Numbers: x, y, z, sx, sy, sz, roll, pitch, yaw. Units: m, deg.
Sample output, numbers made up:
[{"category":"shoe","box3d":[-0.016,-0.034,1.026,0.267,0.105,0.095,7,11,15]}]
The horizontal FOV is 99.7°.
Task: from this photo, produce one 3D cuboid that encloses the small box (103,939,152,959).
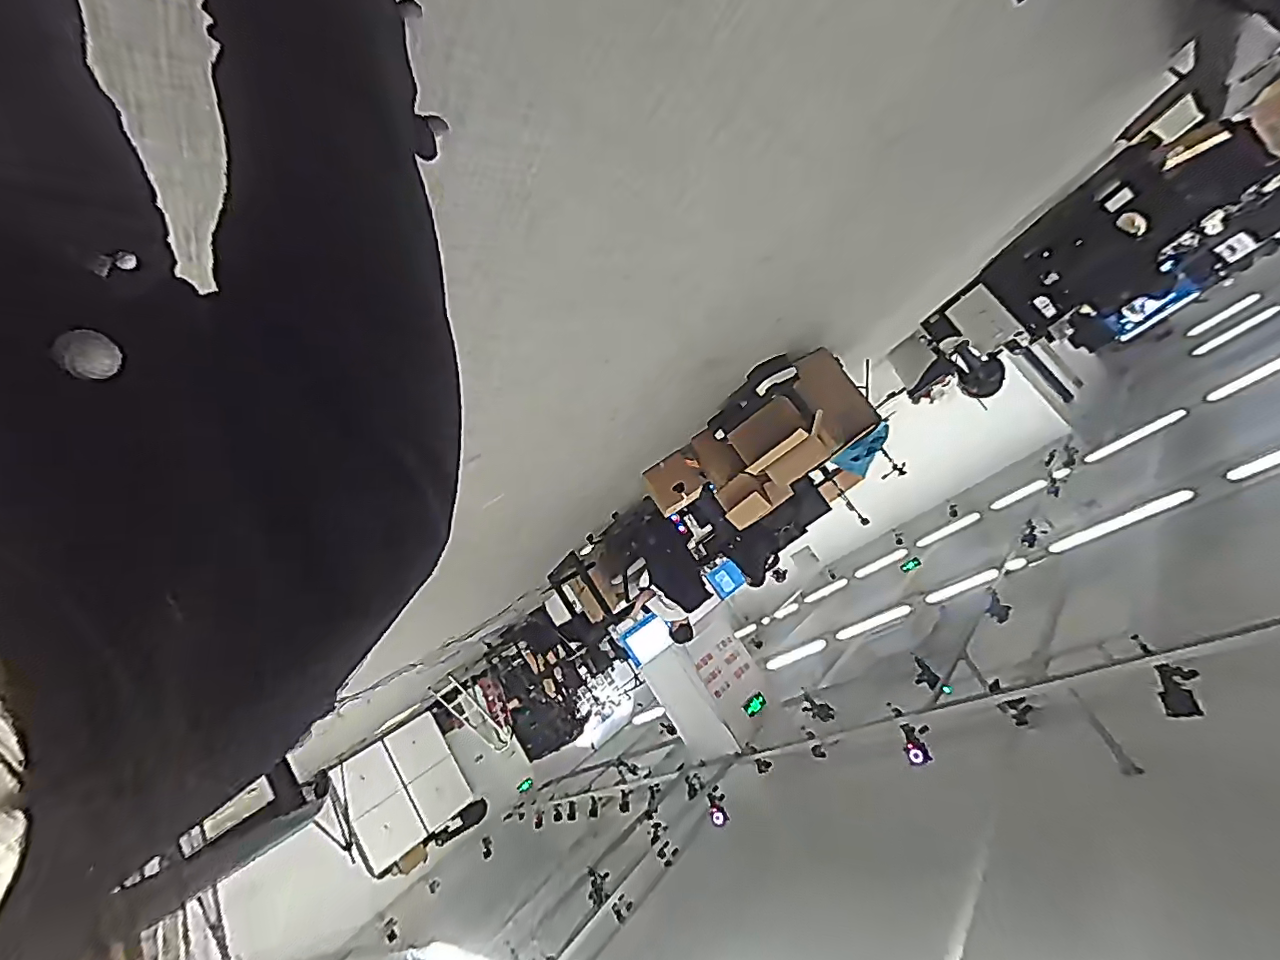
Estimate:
[{"category":"small box","box3d":[-1.453,1.402,1.477,0.179,0.176,0.168,-22,163,-41]}]
